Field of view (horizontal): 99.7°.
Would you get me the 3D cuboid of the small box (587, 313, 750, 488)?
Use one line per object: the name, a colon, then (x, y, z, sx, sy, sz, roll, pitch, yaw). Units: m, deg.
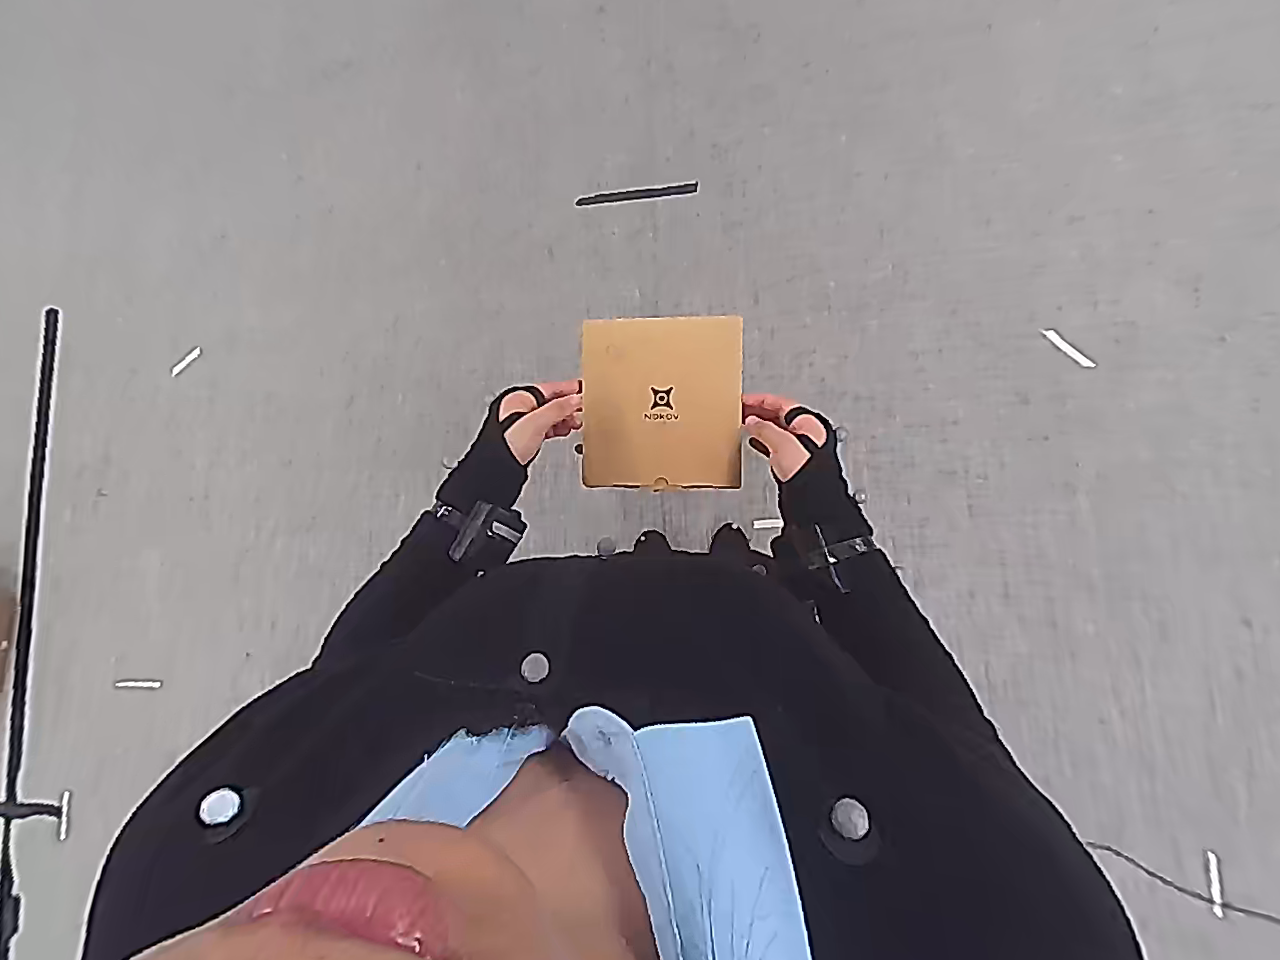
small box: (0.033, -0.085, 0.625, 0.168, 0.176, 0.179, 0, 95, 5)
